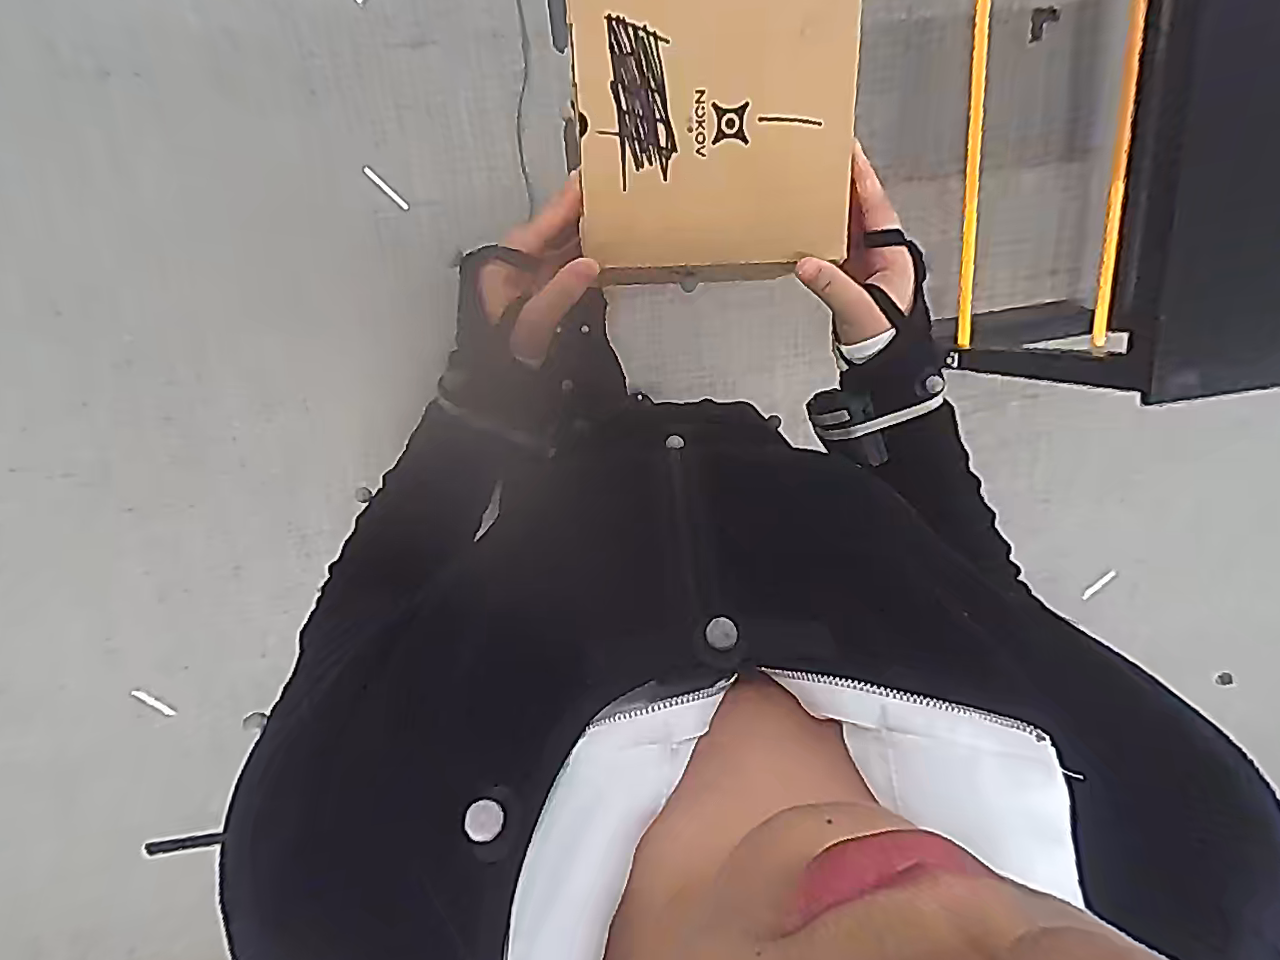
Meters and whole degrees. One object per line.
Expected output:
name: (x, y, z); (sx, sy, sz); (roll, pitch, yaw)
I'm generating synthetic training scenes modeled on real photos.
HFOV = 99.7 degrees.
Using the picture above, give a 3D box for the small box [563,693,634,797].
small box: (-0.107, 0.698, 1.438); (0.168, 0.176, 0.179); (-6, 106, -3)

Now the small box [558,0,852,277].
small box: (0.037, -0.249, 0.409); (0.179, 0.176, 0.168); (-4, 106, -4)
